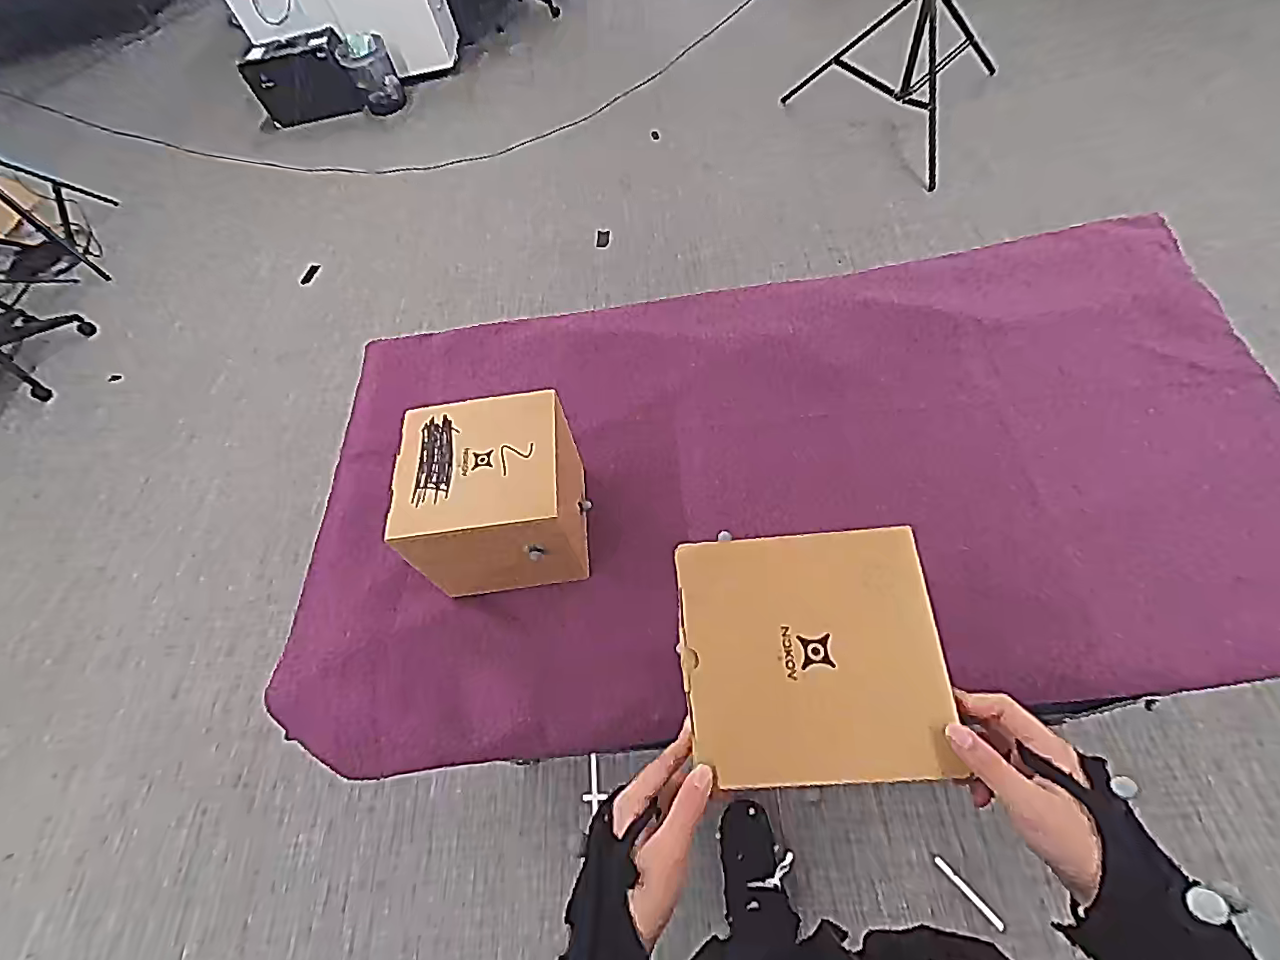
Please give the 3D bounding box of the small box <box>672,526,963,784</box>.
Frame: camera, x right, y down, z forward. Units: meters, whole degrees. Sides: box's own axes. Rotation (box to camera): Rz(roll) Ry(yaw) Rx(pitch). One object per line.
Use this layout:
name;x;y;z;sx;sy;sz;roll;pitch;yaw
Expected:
small box;0.124;0.143;0.448;0.179;0.176;0.168;-7;68;7
